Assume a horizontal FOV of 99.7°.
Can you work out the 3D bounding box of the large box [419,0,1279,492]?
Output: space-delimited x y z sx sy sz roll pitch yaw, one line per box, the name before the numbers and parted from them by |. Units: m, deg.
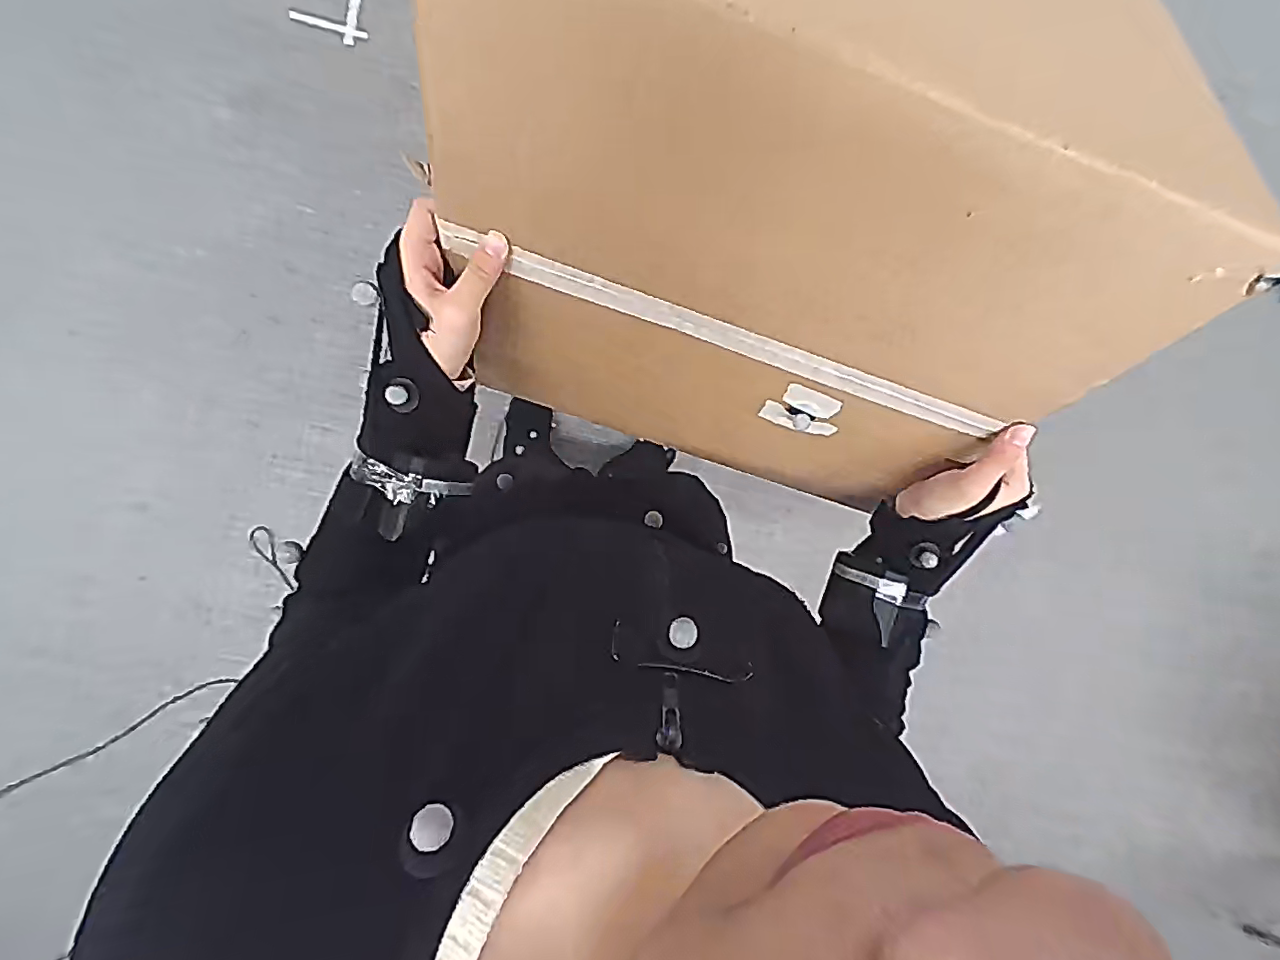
large box | 0.103 -0.235 0.402 0.408 0.320 0.320 16 63 -6
